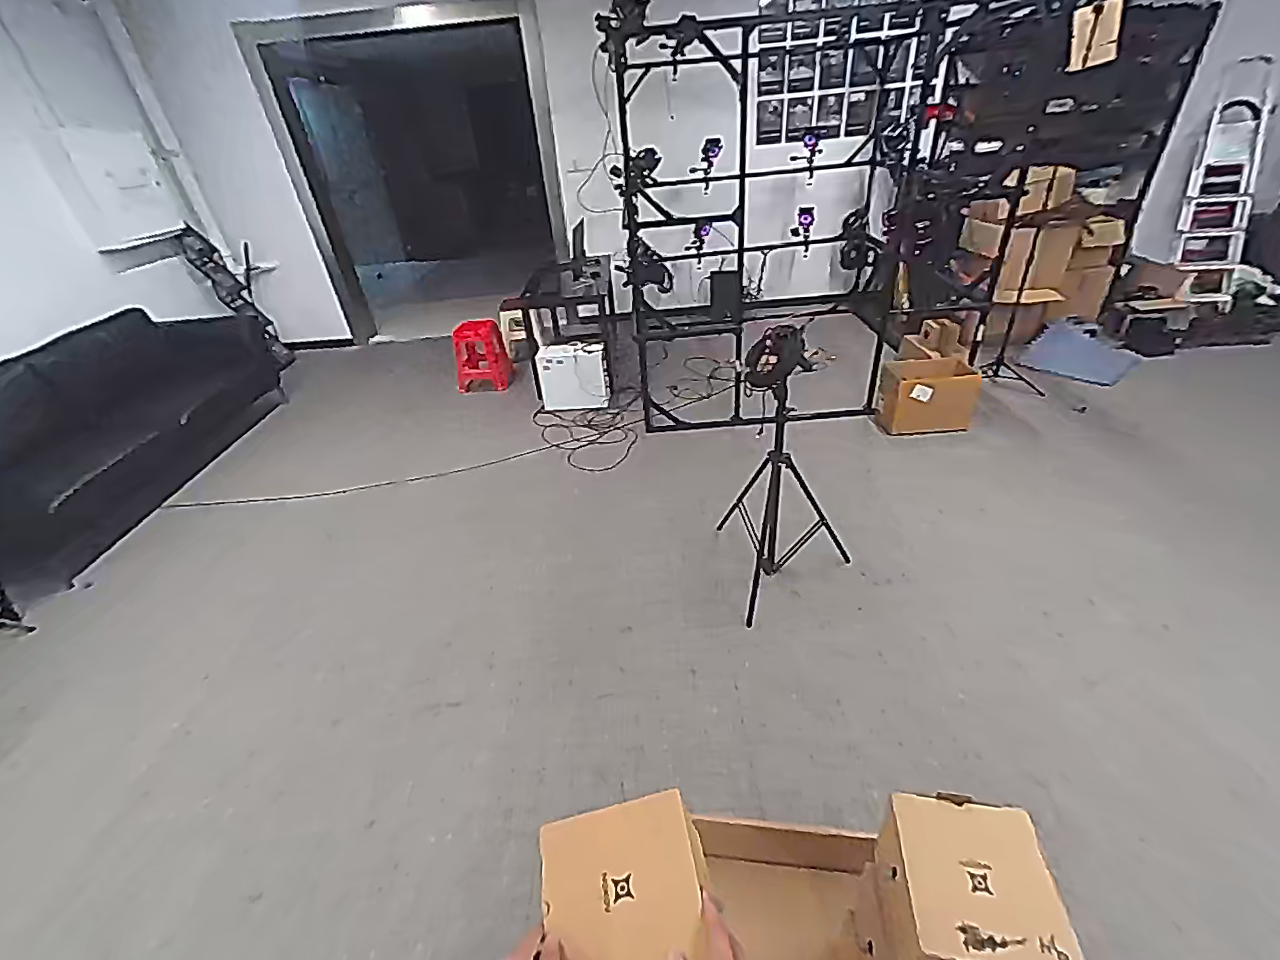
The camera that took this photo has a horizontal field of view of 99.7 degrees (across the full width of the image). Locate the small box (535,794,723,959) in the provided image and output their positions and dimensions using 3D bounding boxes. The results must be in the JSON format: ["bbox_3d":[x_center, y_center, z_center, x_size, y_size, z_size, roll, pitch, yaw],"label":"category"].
[{"bbox_3d":[-0.009,0.496,0.621,0.179,0.176,0.168,-17,39,1],"label":"small box"}]

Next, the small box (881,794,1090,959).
[{"bbox_3d":[0.406,0.530,0.667,0.168,0.176,0.179,1,32,13],"label":"small box"}]

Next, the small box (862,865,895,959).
[{"bbox_3d":[0.419,0.670,0.753,0.179,0.176,0.168,-2,33,7],"label":"small box"}]
